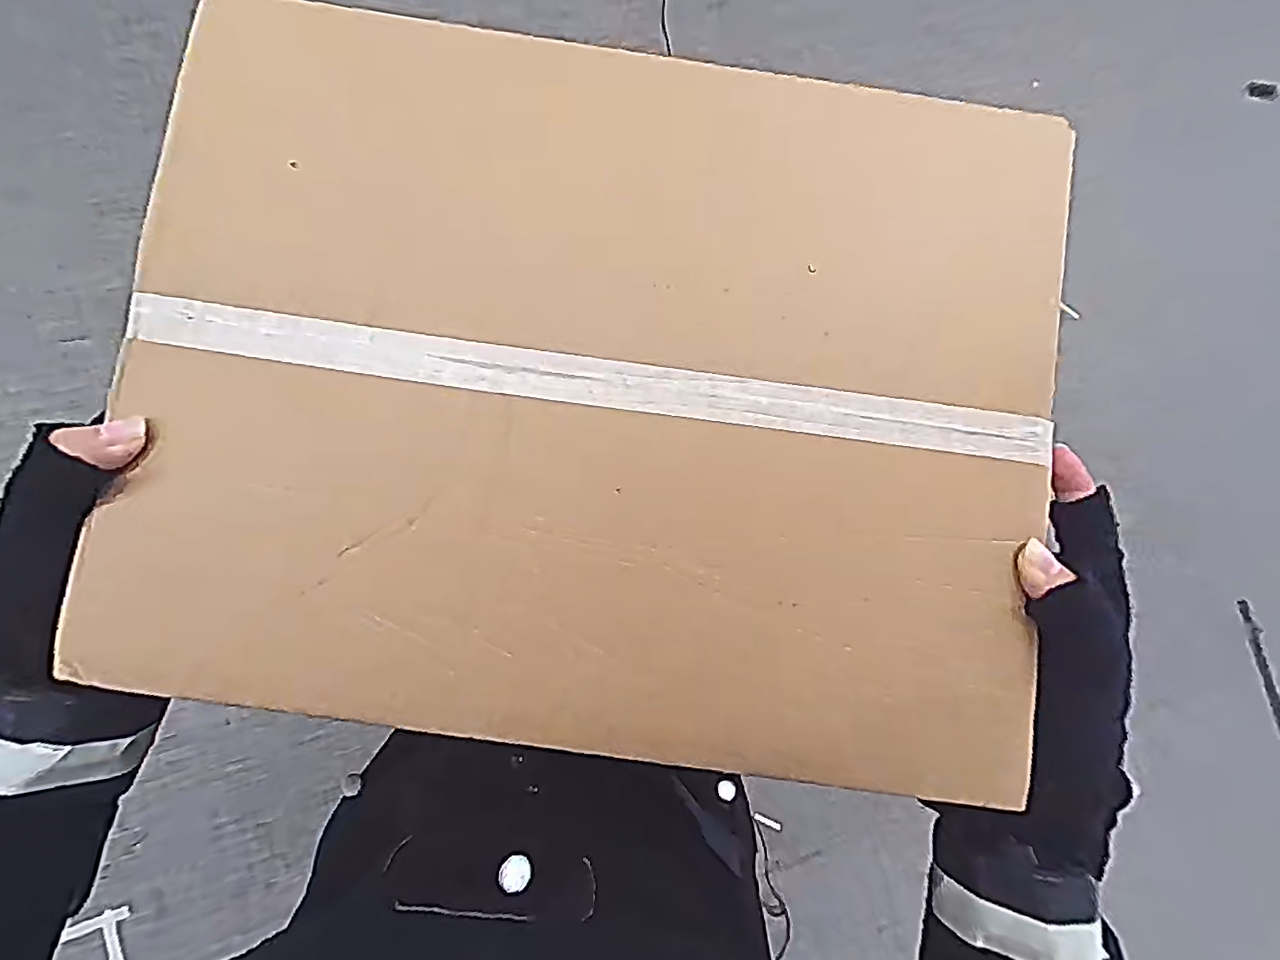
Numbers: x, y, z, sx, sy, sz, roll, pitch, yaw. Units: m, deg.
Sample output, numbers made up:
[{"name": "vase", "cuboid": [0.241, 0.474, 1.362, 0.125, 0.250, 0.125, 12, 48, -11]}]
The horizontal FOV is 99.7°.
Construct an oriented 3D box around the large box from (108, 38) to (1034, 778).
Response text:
[{"name": "large box", "cuboid": [-0.023, -0.029, 0.400, 0.408, 0.320, 0.320, 8, 85, -1]}]
